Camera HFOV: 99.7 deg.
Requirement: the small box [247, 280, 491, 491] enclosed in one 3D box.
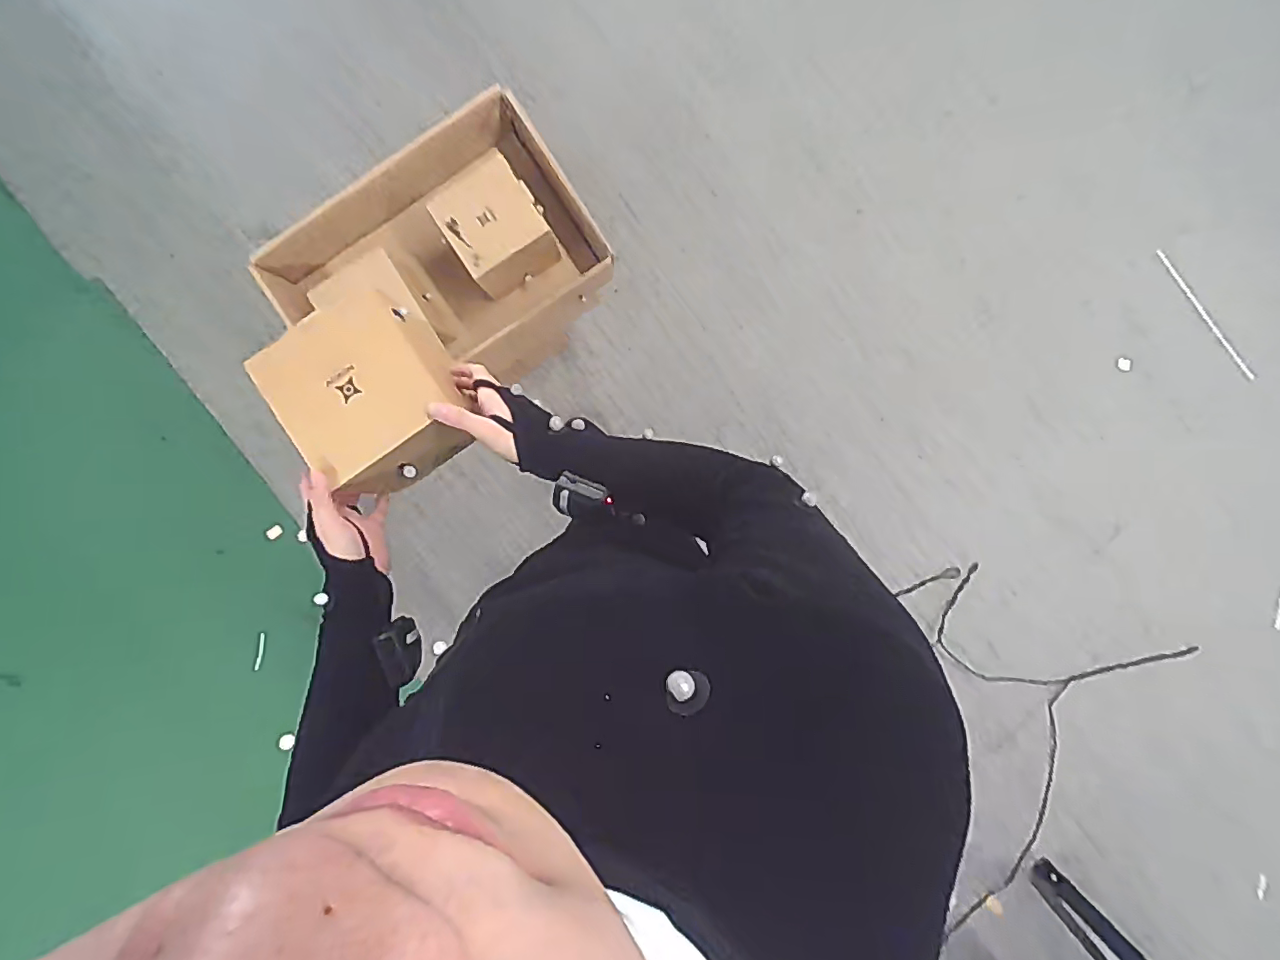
[{"bbox_3d":[-0.312,-0.102,0.664,0.168,0.176,0.179,-35,87,1],"label":"small box"}]
